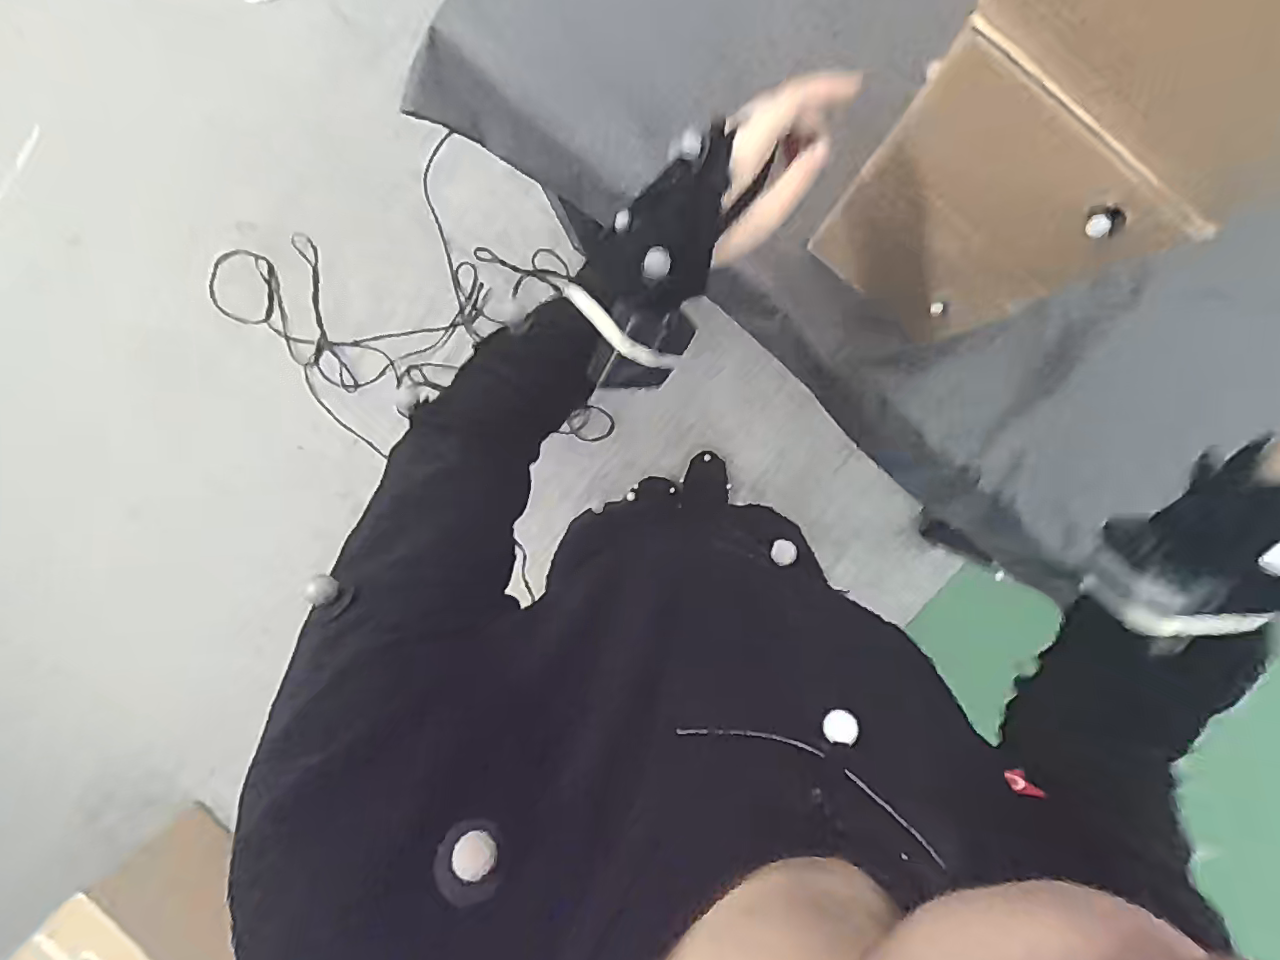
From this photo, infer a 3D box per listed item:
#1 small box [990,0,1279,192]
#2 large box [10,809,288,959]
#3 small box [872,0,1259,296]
[{"bbox_3d":[0.289,-0.242,0.196,0.179,0.176,0.168,40,94,-1],"label":"small box"},{"bbox_3d":[-1.231,1.171,1.381,0.320,0.320,0.408,-44,90,5],"label":"large box"},{"bbox_3d":[0.294,-0.251,0.358,0.179,0.176,0.168,40,95,-2],"label":"small box"}]
